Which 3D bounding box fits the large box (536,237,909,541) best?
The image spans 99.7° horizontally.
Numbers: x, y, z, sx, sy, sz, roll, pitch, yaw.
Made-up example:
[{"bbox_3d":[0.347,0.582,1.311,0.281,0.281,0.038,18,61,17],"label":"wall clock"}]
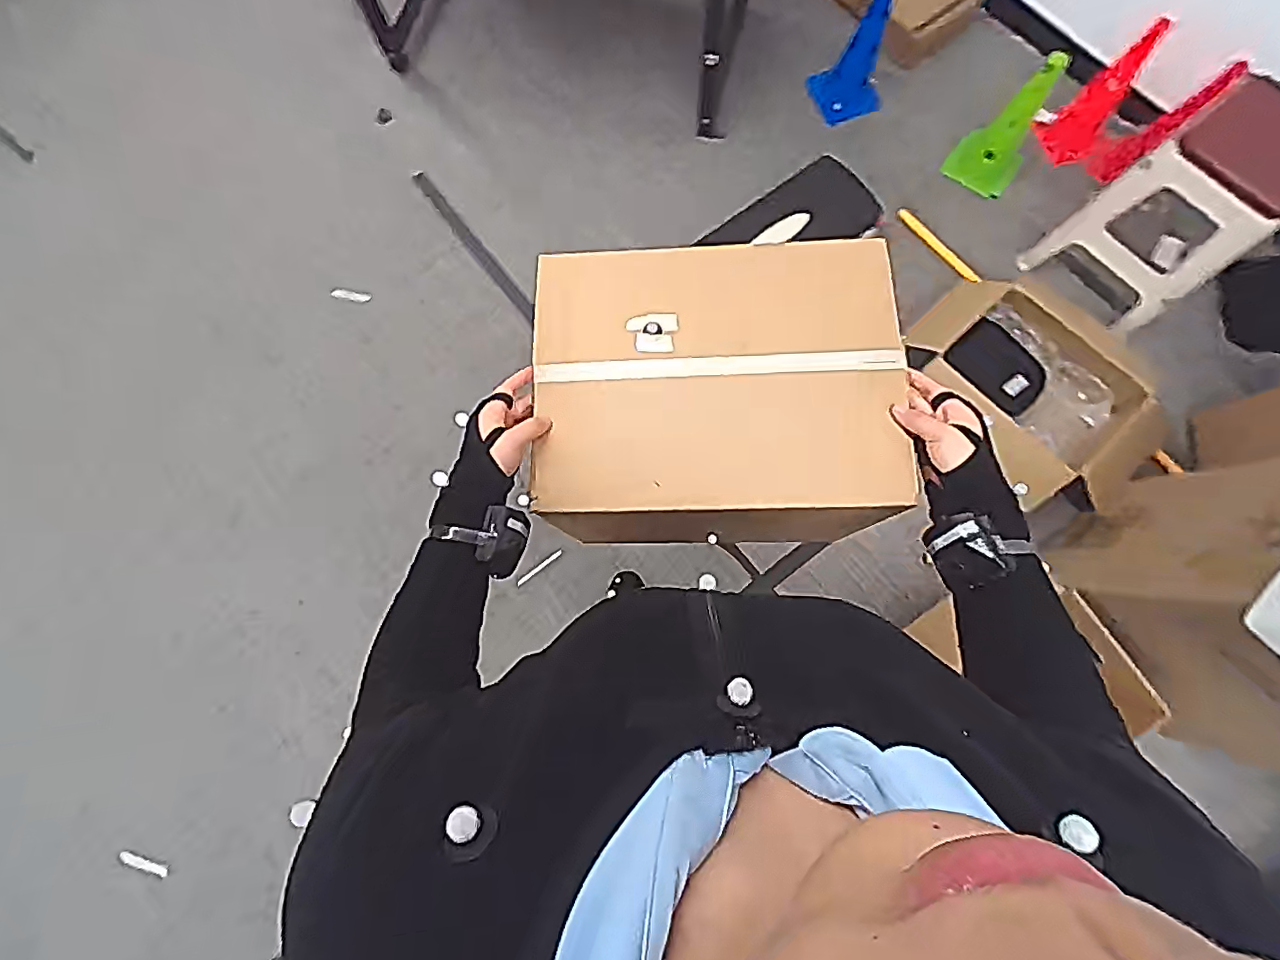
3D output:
[{"bbox_3d":[0.091,-0.091,0.753,0.408,0.320,0.320,-3,76,4],"label":"large box"}]
